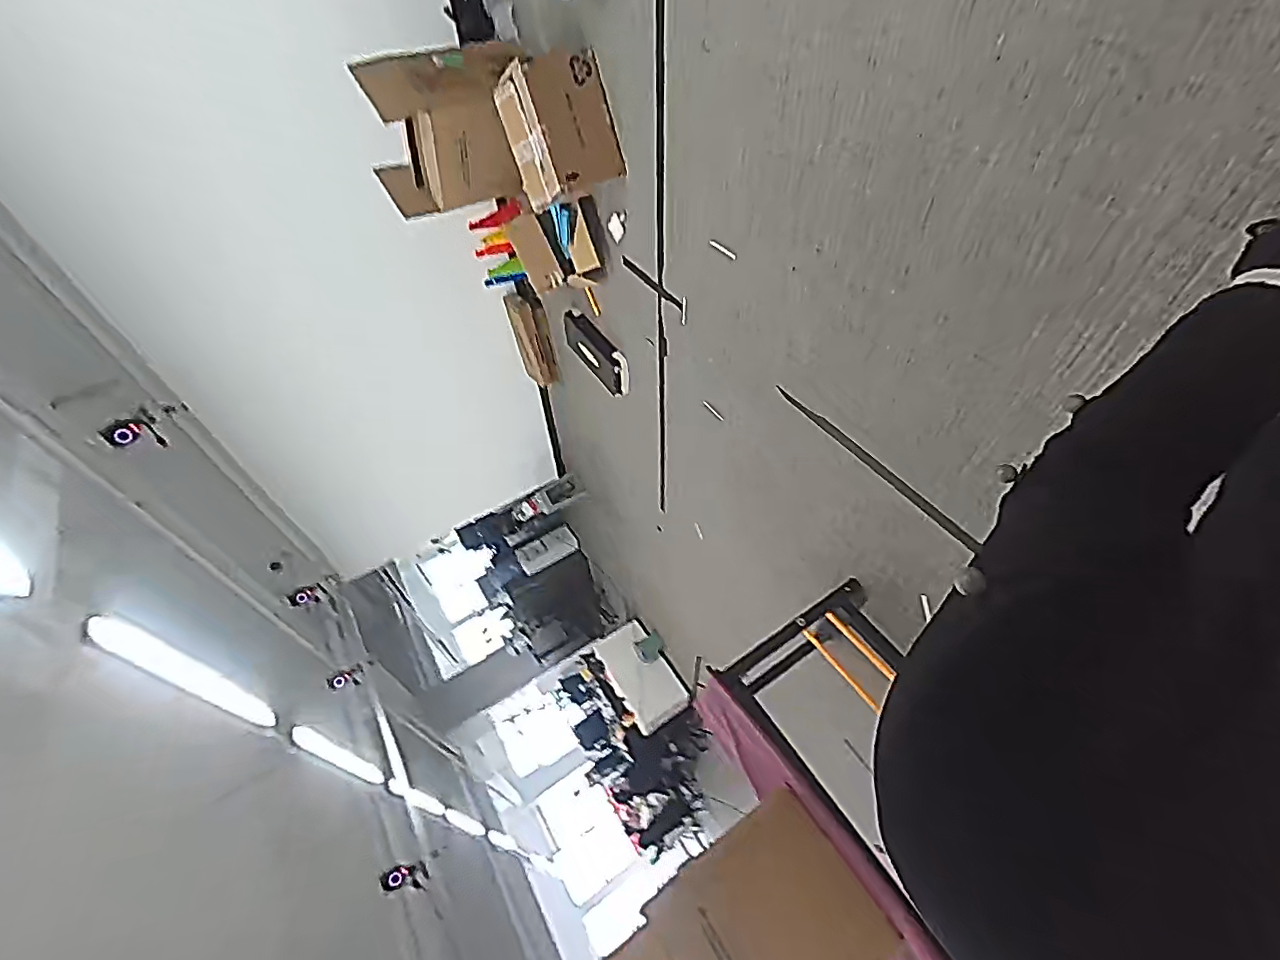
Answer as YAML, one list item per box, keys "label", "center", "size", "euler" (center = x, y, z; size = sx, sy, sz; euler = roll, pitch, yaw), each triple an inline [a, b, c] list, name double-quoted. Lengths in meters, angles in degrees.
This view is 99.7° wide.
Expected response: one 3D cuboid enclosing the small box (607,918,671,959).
- label: "small box"
  center: [0.011, 1.613, 1.802]
  size: [0.179, 0.176, 0.168]
  euler: [49, 158, 34]
